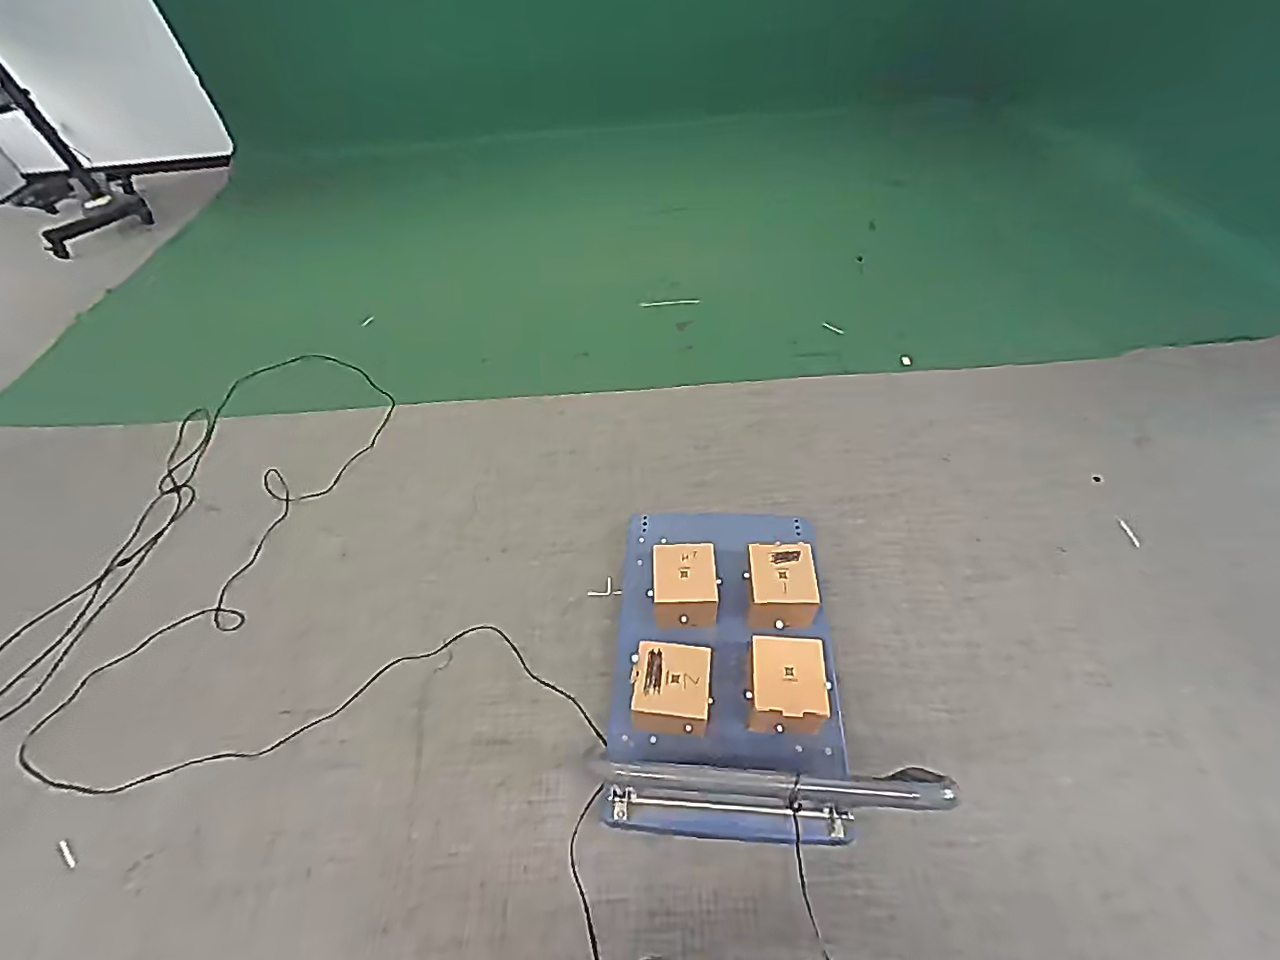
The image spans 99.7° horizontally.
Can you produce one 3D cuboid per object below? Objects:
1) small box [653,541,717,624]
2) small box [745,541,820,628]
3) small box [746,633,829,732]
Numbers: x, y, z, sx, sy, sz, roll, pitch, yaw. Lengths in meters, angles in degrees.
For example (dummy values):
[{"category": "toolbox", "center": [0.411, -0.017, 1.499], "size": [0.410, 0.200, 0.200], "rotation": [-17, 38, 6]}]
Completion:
[{"category": "small box", "center": [0.123, 0.287, 1.492], "size": [0.168, 0.176, 0.179], "rotation": [-1, 52, 3]}, {"category": "small box", "center": [0.379, 0.285, 1.473], "size": [0.168, 0.176, 0.179], "rotation": [-1, 53, 5]}, {"category": "small box", "center": [0.350, 0.492, 1.314], "size": [0.168, 0.176, 0.179], "rotation": [2, 53, 6]}]
